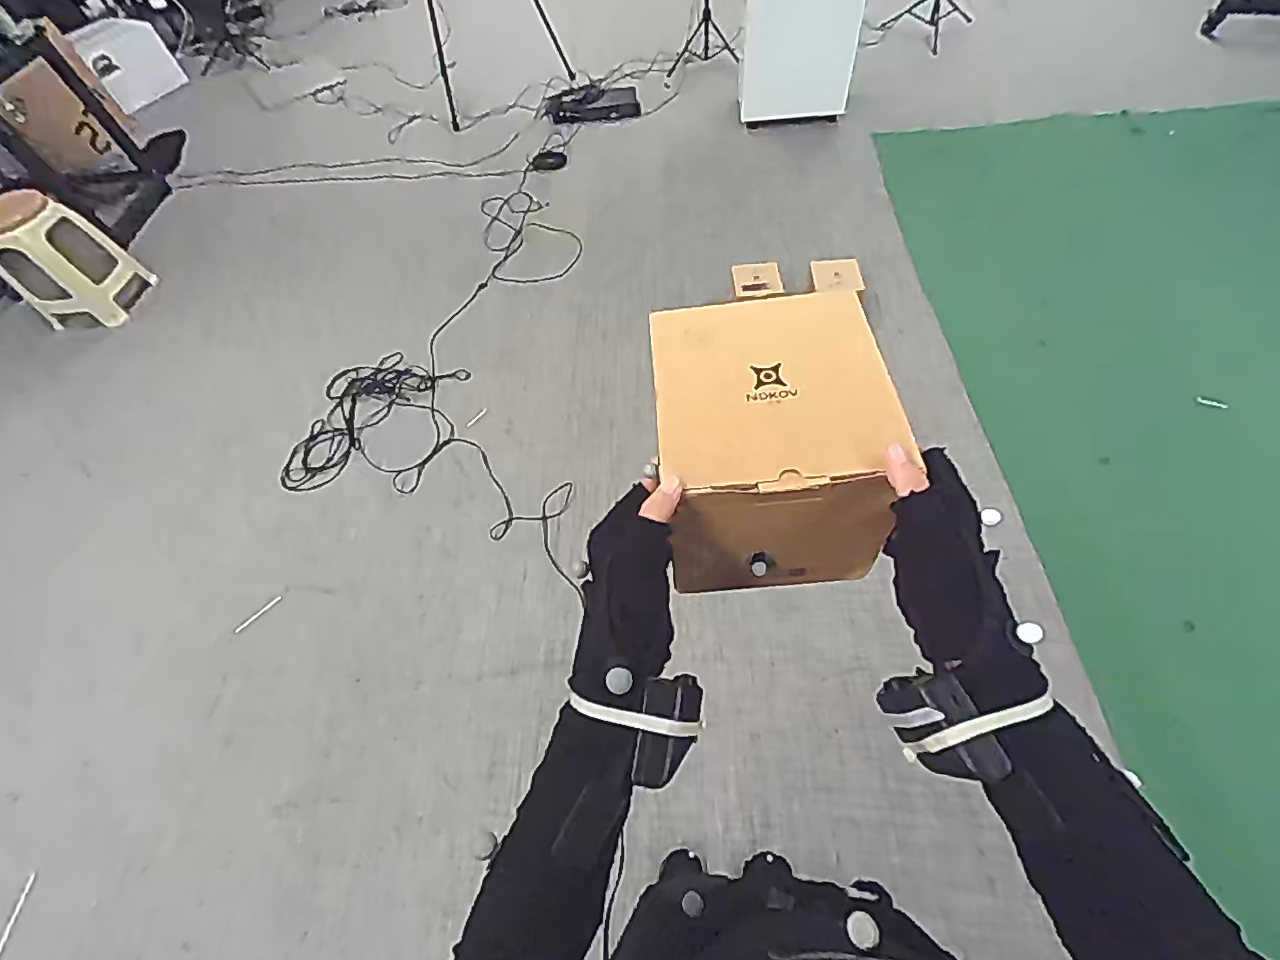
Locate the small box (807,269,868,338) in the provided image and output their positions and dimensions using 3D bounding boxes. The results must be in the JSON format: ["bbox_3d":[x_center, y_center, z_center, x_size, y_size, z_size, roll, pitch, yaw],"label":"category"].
[{"bbox_3d":[0.717,-0.646,1.986,0.168,0.176,0.179,-2,58,6],"label":"small box"}]
